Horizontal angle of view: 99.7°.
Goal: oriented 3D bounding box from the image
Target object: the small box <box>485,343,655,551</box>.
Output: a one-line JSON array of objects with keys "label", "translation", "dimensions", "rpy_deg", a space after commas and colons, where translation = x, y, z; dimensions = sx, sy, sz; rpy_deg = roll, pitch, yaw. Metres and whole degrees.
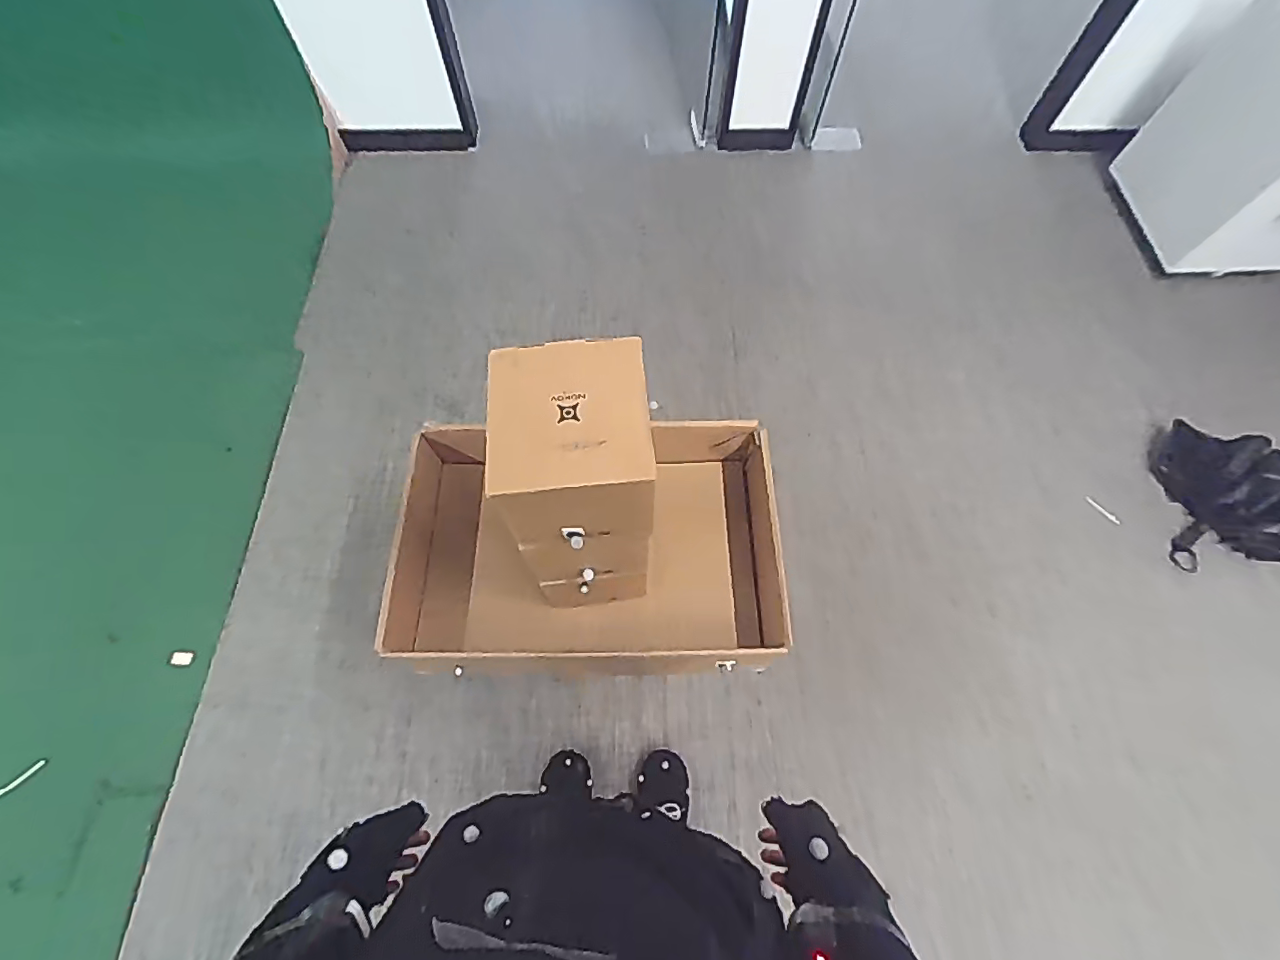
[{"label": "small box", "translation": [-0.075, -0.032, 0.627], "dimensions": [0.168, 0.176, 0.179], "rpy_deg": [-6, 66, -1]}]

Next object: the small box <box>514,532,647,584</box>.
[{"label": "small box", "translation": [-0.082, 0.037, 0.773], "dimensions": [0.168, 0.176, 0.179], "rpy_deg": [-6, 65, -3]}]

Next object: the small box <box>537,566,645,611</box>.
[{"label": "small box", "translation": [-0.083, 0.109, 0.920], "dimensions": [0.168, 0.176, 0.179], "rpy_deg": [-7, 64, -2]}]
